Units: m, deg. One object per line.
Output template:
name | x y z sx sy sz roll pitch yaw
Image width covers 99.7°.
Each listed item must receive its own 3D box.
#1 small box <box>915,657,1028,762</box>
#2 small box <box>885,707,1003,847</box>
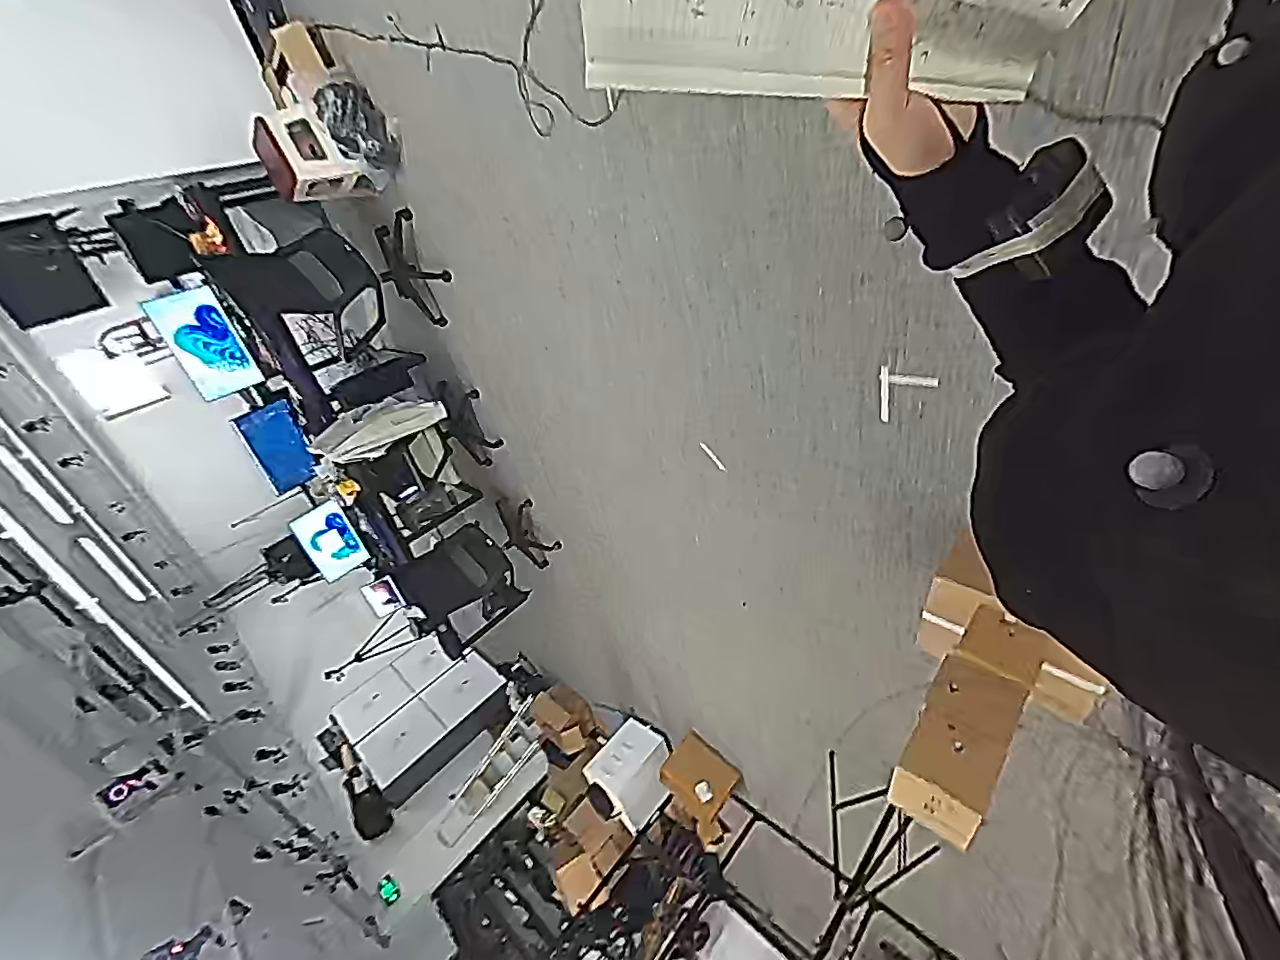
small box | 0.766 0.544 1.261 0.179 0.176 0.168 21 137 38
small box | 0.660 0.640 1.178 0.168 0.176 0.179 24 138 37
